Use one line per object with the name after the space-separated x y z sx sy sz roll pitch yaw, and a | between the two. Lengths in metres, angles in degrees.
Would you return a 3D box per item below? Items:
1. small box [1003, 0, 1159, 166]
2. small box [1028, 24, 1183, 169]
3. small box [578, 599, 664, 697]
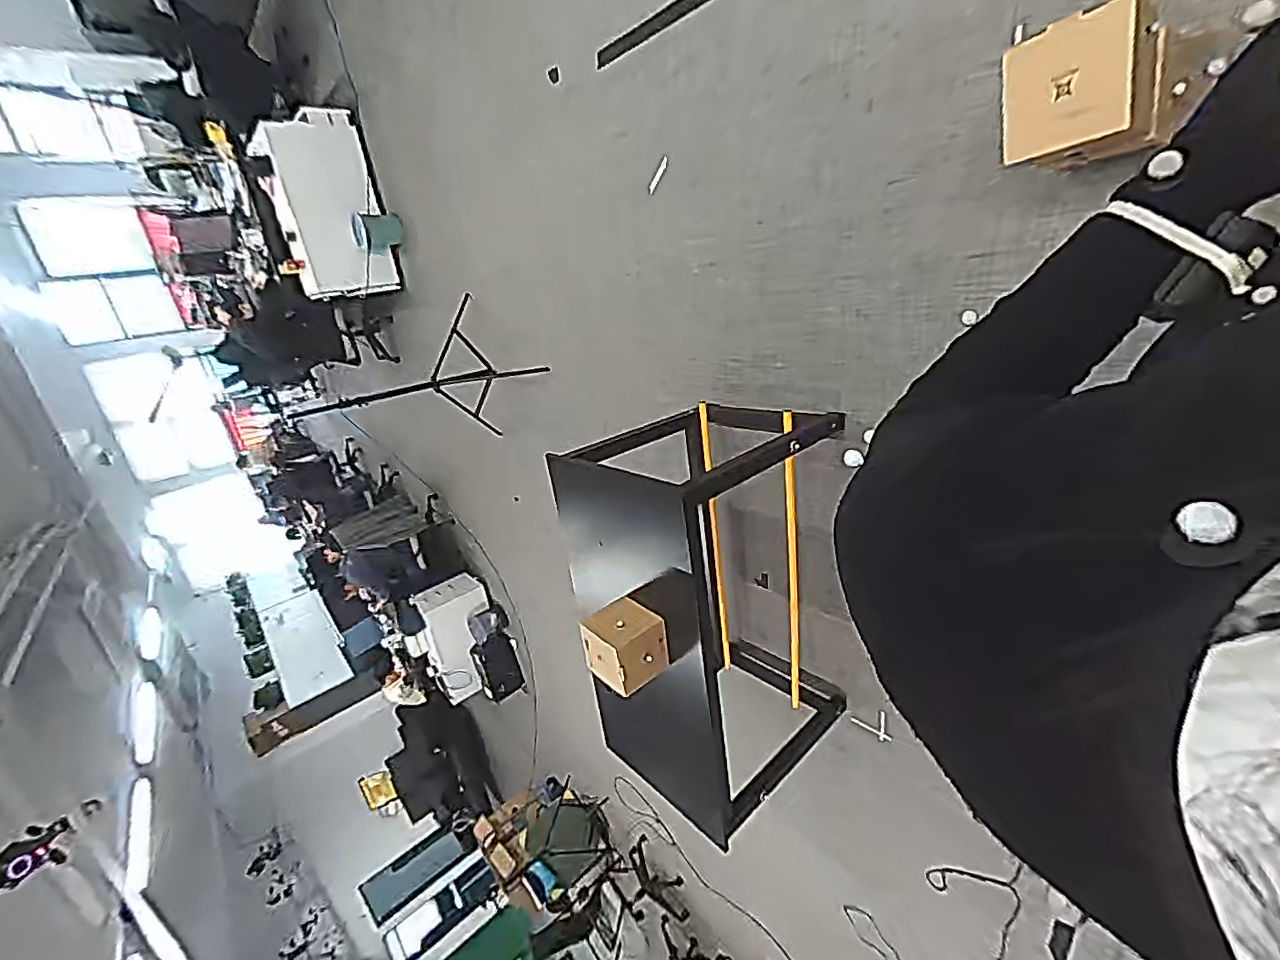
0.716 -0.633 0.881 0.168 0.176 0.179 9 117 51 | small box
0.839 -0.676 0.979 0.179 0.176 0.168 12 119 48 | small box
-0.045 0.459 1.513 0.179 0.176 0.168 18 123 46 | small box
